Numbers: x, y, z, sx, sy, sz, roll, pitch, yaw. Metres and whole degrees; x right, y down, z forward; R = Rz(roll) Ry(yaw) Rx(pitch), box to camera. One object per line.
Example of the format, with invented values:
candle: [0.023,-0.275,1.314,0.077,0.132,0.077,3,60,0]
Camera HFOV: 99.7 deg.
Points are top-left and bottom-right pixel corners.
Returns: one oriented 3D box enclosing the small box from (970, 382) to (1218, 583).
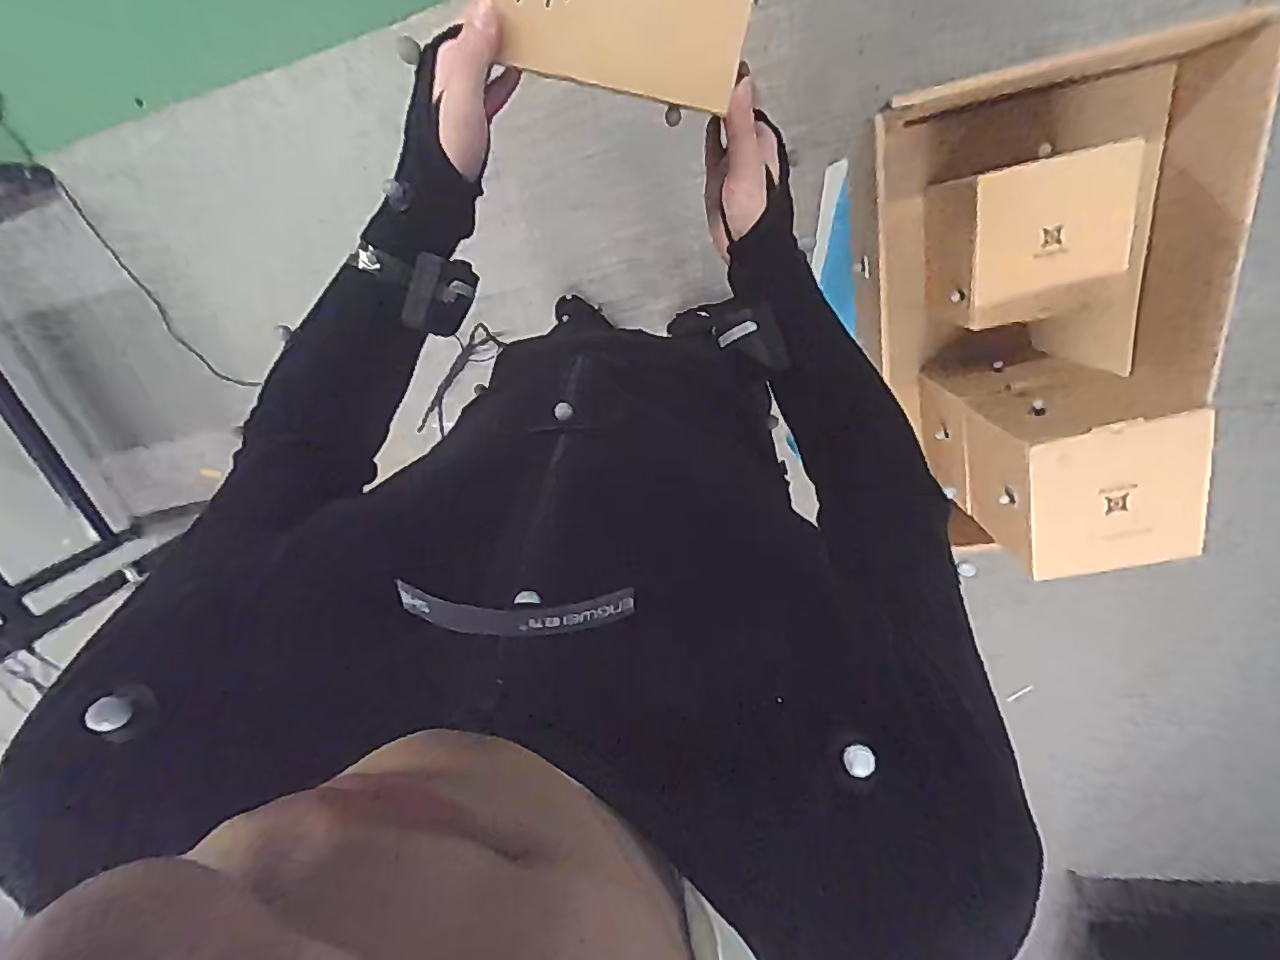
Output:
small box: [0.514,-0.007,0.641,0.168,0.176,0.179,-12,112,14]

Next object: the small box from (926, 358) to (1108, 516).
small box: [0.535,-0.071,0.789,0.168,0.176,0.179,-11,111,13]
